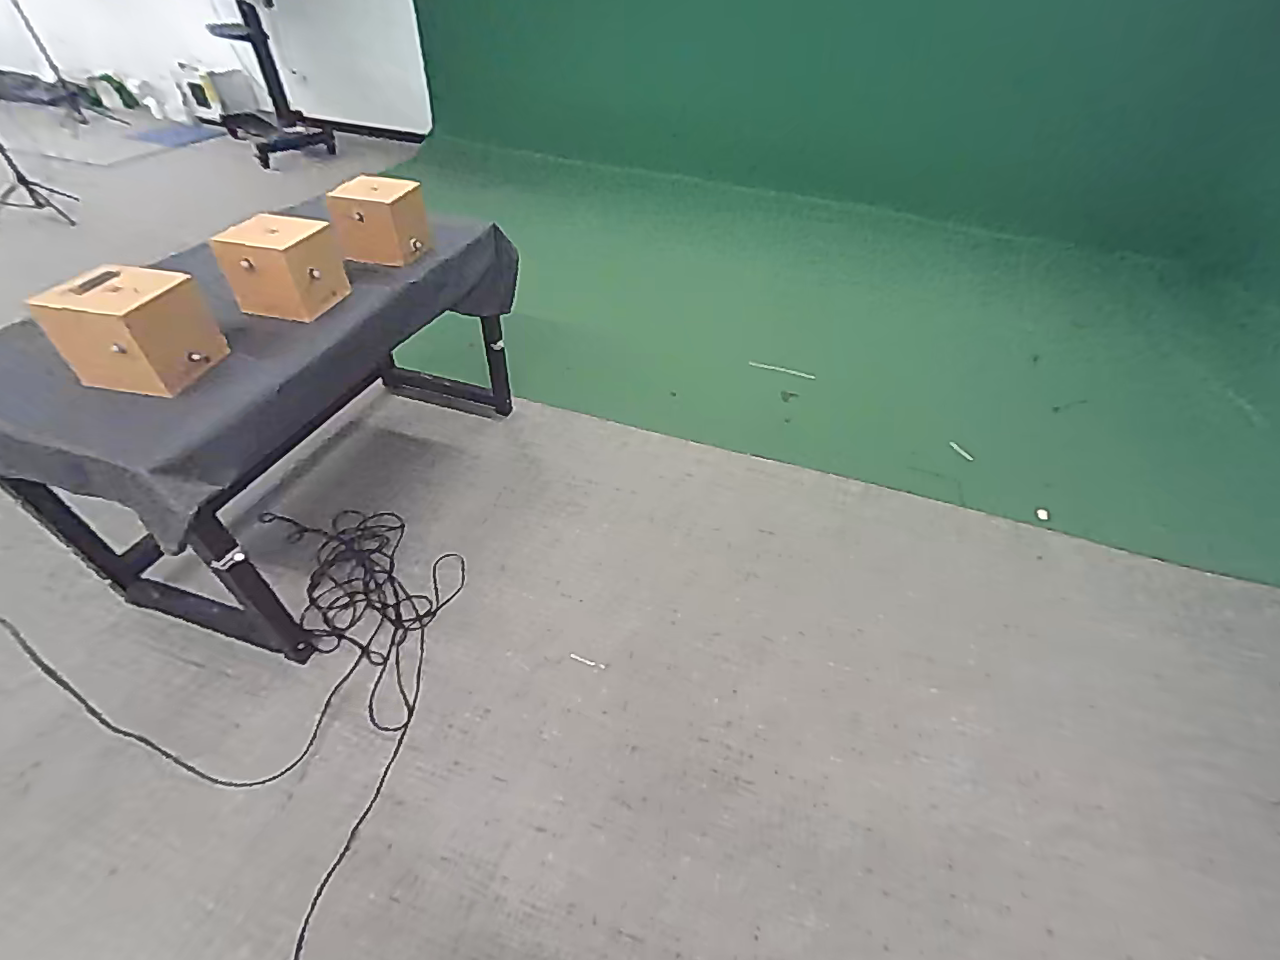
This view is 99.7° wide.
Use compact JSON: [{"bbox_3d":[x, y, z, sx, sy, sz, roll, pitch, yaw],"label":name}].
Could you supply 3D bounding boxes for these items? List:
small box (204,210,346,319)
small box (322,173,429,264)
[{"bbox_3d":[-0.803,-0.482,1.216,0.179,0.176,0.168,10,45,6],"label":"small box"},{"bbox_3d":[-0.693,-0.693,1.439,0.179,0.176,0.168,10,46,4],"label":"small box"}]
